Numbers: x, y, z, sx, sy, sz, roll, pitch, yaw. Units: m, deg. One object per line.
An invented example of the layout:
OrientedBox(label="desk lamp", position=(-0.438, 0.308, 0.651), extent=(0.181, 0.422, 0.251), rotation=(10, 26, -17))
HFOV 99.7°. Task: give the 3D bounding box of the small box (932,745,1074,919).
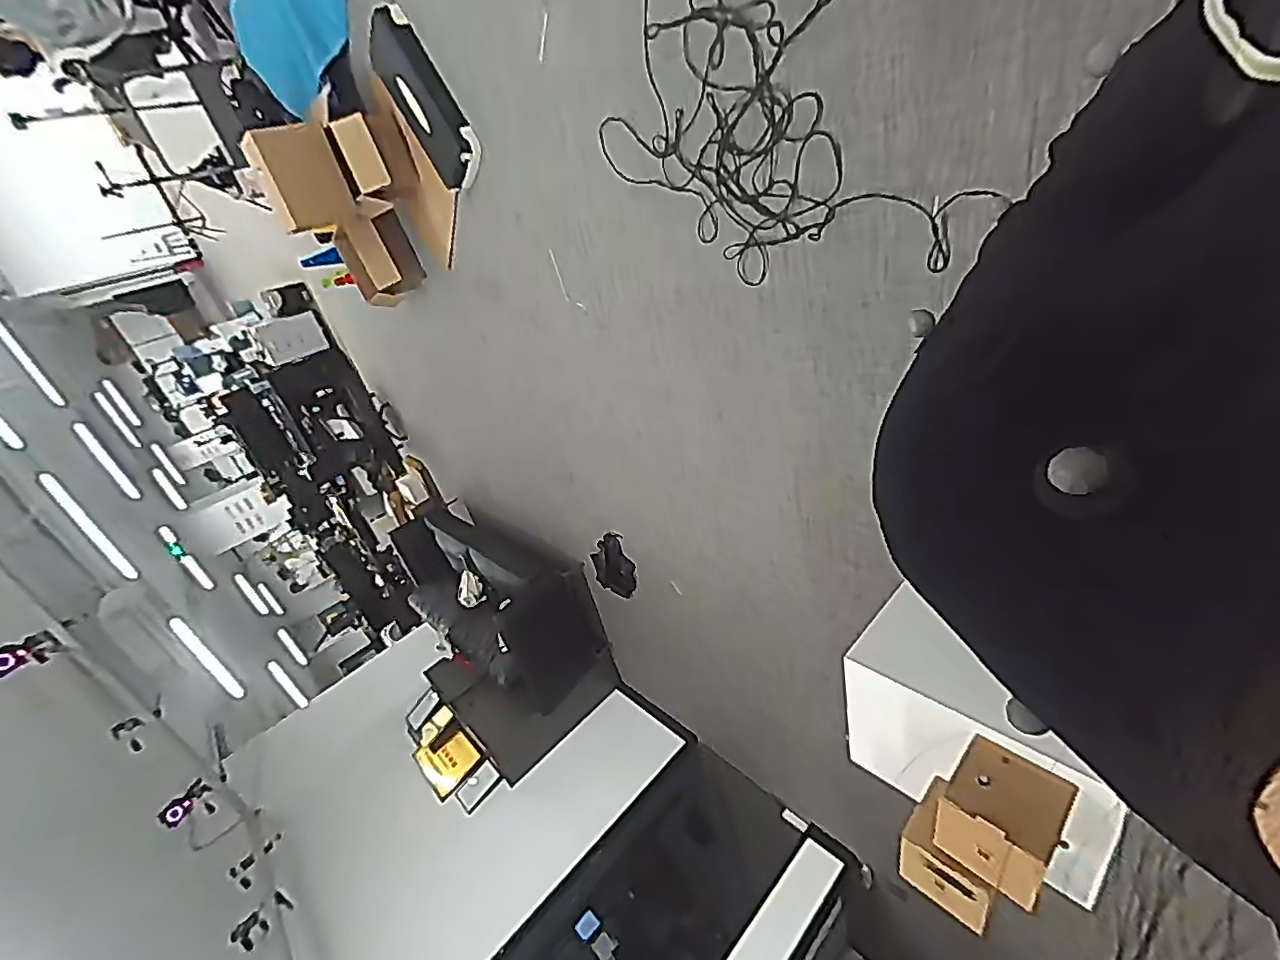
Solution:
OrientedBox(label="small box", position=(0.662, 0.632, 0.990), extent=(0.168, 0.176, 0.179), rotation=(22, 136, 46))
